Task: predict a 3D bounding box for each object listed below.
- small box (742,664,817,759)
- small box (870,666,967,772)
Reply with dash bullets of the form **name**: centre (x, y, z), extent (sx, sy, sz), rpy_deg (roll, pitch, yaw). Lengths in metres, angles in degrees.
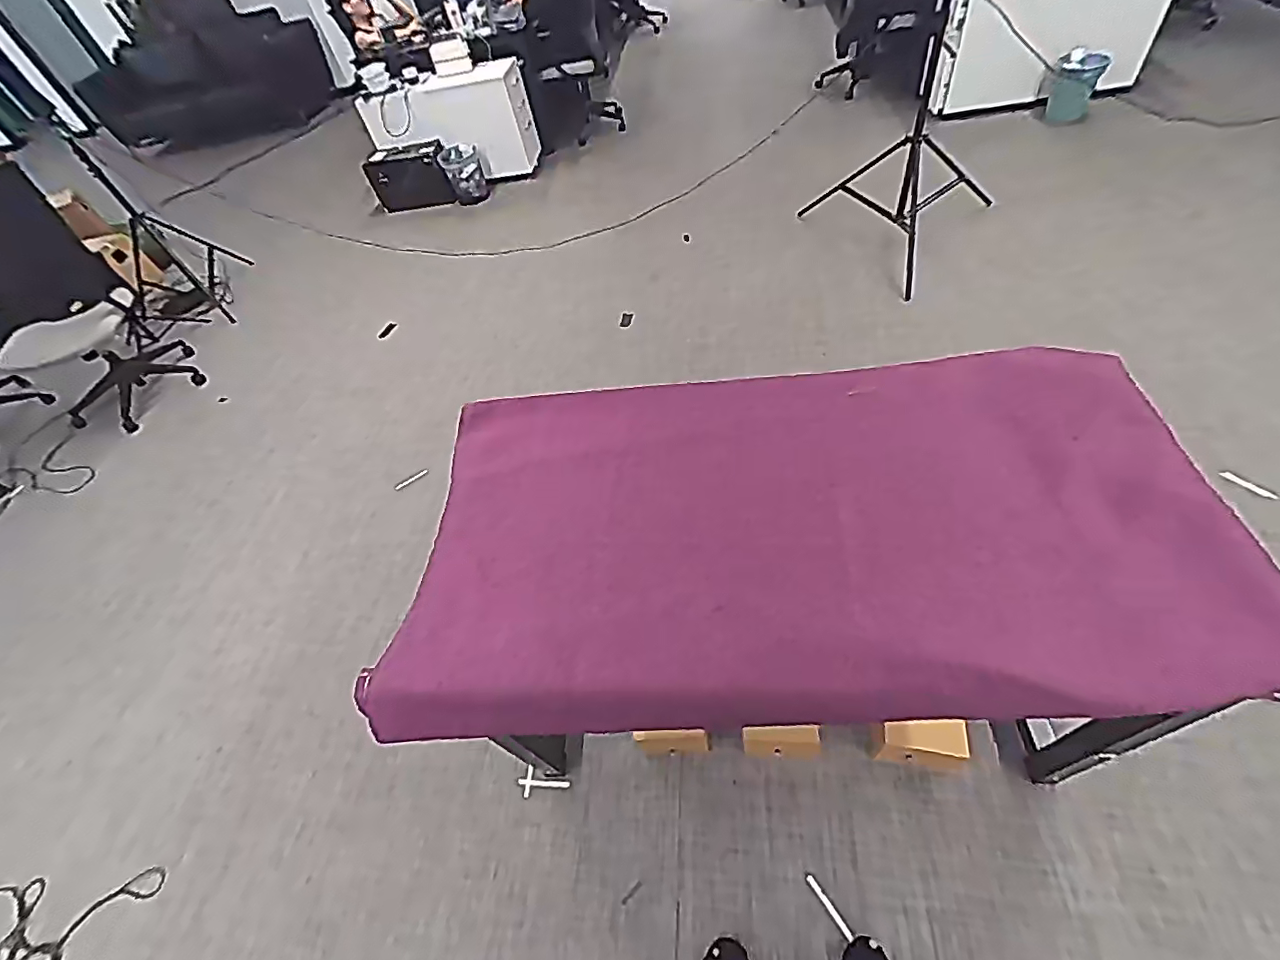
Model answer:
- **small box**: centre (0.333, 0.564, 1.312), extent (0.168, 0.176, 0.179), rpy_deg (-1, 51, 10)
- **small box**: centre (0.636, 0.559, 1.256), extent (0.168, 0.176, 0.179), rpy_deg (4, 52, 15)
